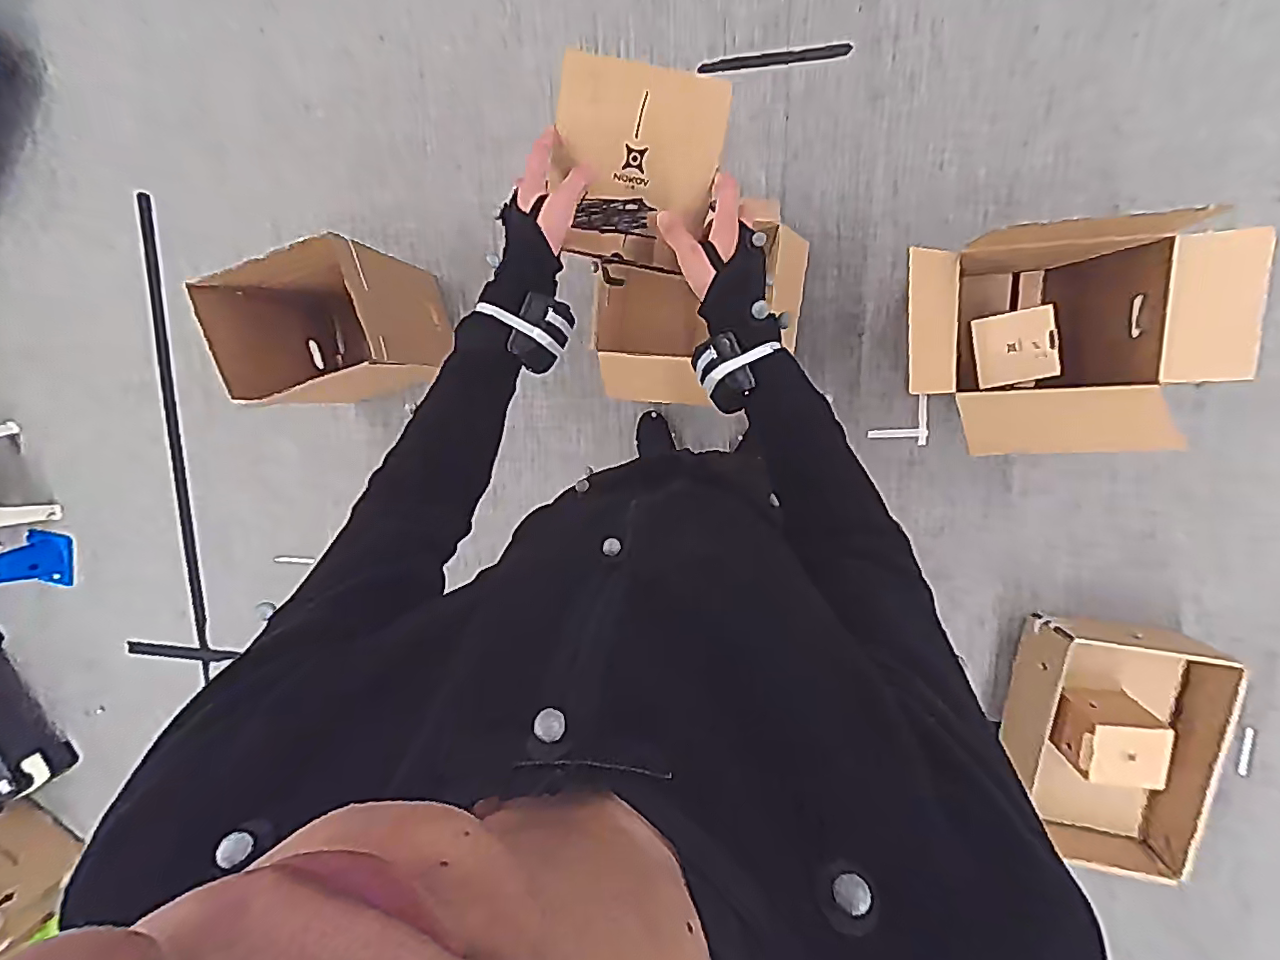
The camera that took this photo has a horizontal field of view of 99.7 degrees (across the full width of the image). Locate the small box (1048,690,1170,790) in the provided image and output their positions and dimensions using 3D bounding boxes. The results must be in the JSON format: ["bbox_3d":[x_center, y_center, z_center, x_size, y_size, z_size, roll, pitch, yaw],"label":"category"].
[{"bbox_3d":[1.212,0.670,1.414,0.179,0.176,0.168,2,100,9],"label":"small box"}]

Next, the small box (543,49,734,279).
[{"bbox_3d":[0.003,-0.332,0.606,0.168,0.176,0.179,12,108,3],"label":"small box"}]
